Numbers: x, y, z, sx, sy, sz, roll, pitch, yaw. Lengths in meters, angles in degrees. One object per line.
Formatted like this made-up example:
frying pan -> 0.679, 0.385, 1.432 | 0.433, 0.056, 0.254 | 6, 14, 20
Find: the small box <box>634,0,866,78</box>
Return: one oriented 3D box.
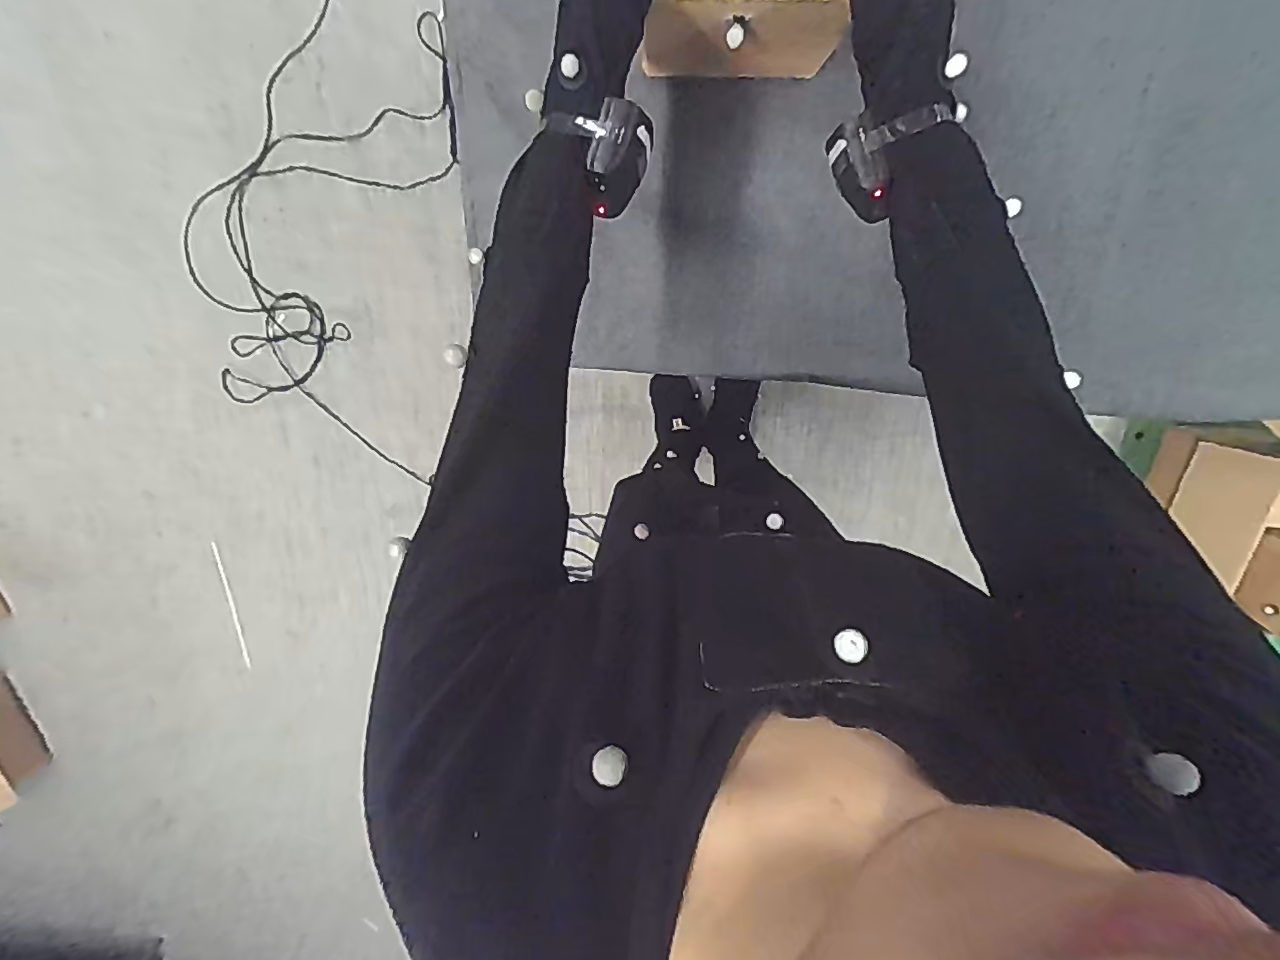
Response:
small box -> 0.089, -0.459, 0.448 | 0.179, 0.176, 0.168 | 3, 111, 3
